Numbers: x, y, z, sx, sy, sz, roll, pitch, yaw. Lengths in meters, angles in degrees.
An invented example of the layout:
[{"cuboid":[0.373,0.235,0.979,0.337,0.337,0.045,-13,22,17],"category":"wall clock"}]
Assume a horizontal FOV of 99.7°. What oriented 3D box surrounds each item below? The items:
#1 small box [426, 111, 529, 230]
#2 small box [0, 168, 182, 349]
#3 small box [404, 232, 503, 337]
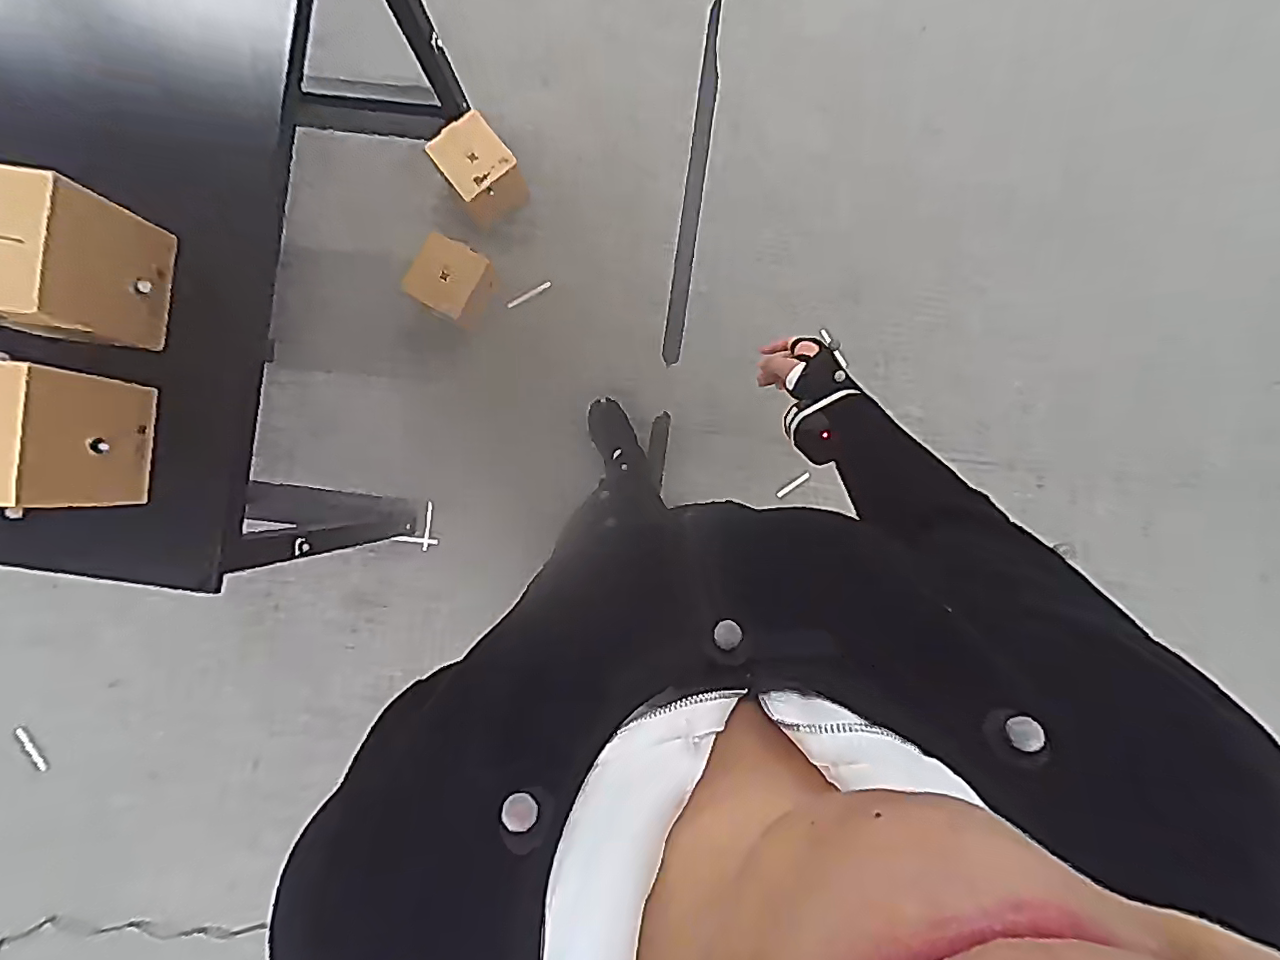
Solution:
[{"cuboid":[-0.418,-0.803,1.422,0.168,0.176,0.179,-39,90,0],"category":"small box"},{"cuboid":[-0.751,-0.274,0.693,0.179,0.176,0.168,7,90,0],"category":"small box"},{"cuboid":[-0.479,-0.506,1.424,0.168,0.176,0.179,28,91,1],"category":"small box"}]
